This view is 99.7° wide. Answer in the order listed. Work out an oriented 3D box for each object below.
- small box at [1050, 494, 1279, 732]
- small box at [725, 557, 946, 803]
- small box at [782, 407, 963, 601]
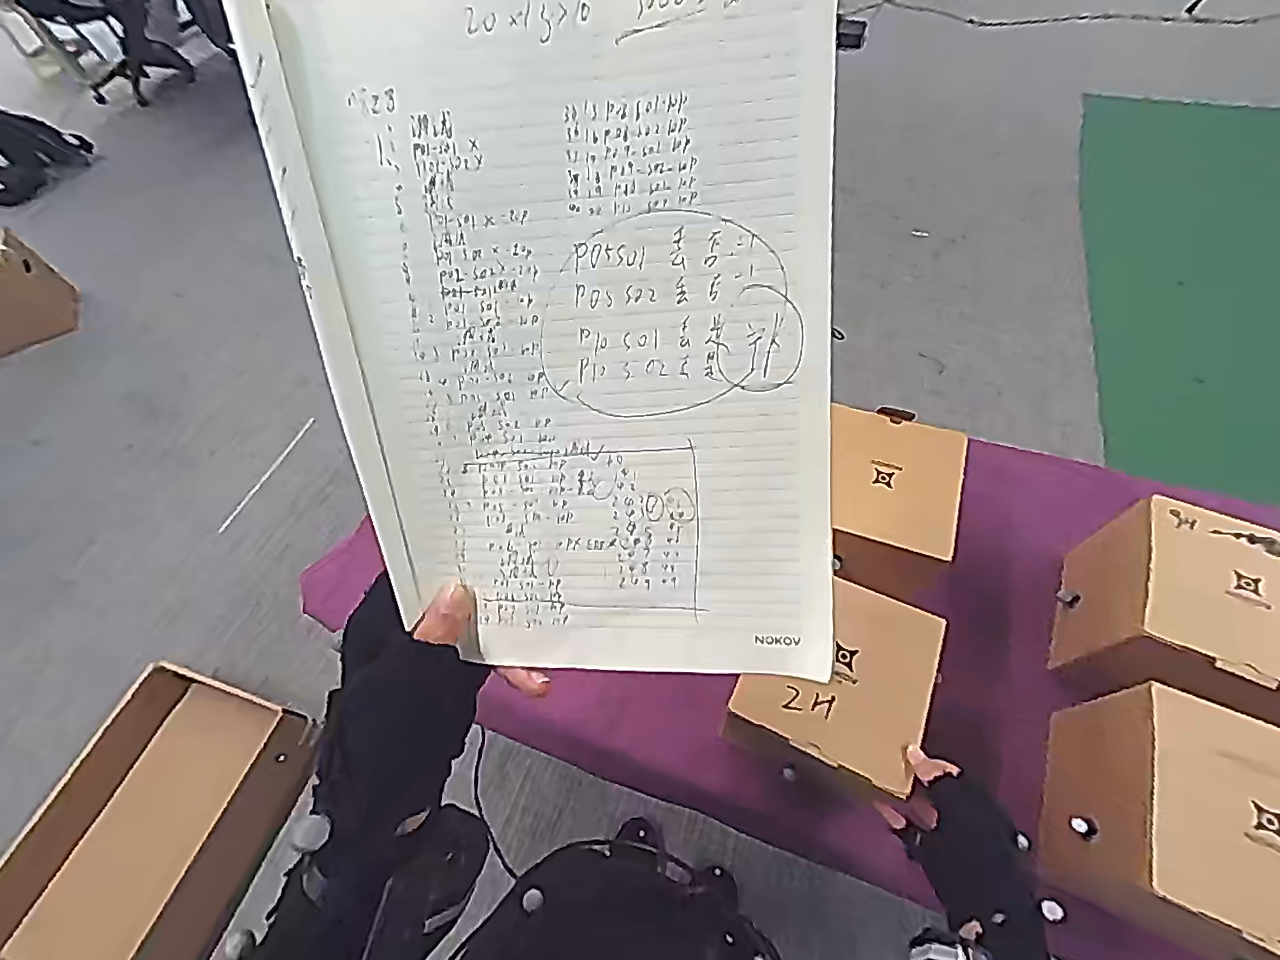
[{"bbox_3d":[0.593,0.152,0.594,0.168,0.176,0.179,23,63,18],"label":"small box"},{"bbox_3d":[0.198,0.219,0.586,0.168,0.176,0.179,21,61,18],"label":"small box"},{"bbox_3d":[0.289,0.040,0.697,0.168,0.176,0.179,16,60,15],"label":"small box"}]
